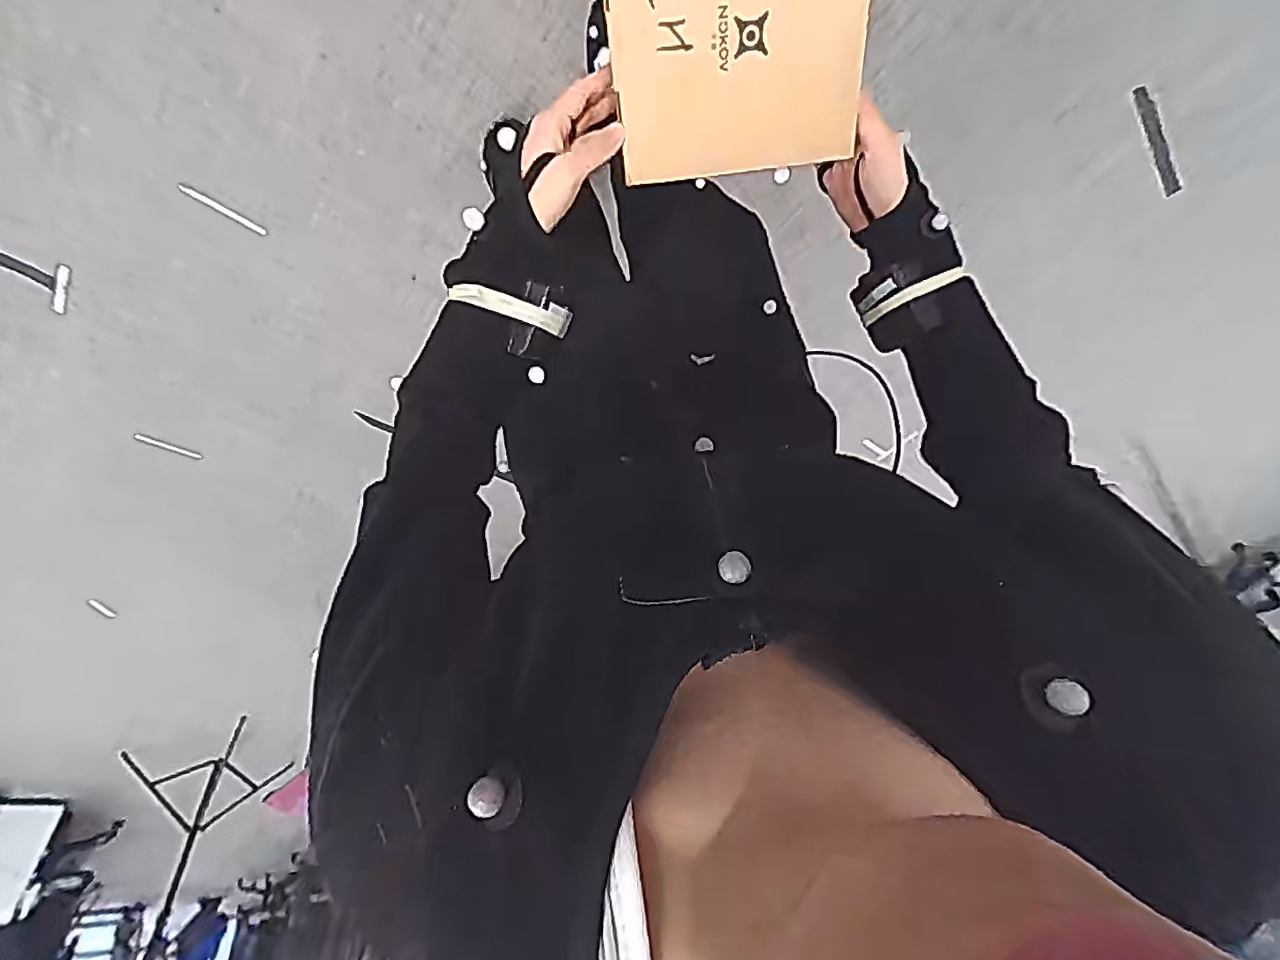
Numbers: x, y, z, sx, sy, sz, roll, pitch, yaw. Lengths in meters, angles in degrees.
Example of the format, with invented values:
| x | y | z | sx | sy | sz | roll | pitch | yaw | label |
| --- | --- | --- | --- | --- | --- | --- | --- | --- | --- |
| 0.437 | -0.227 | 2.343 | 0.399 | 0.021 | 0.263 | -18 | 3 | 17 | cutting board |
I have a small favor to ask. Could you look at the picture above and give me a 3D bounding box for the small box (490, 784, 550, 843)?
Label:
| x | y | z | sx | sy | sz | roll | pitch | yaw | label |
| --- | --- | --- | --- | --- | --- | --- | --- | --- | --- |
| -0.469 | 1.307 | 2.119 | 0.179 | 0.176 | 0.168 | 24 | 129 | -32 | small box |
